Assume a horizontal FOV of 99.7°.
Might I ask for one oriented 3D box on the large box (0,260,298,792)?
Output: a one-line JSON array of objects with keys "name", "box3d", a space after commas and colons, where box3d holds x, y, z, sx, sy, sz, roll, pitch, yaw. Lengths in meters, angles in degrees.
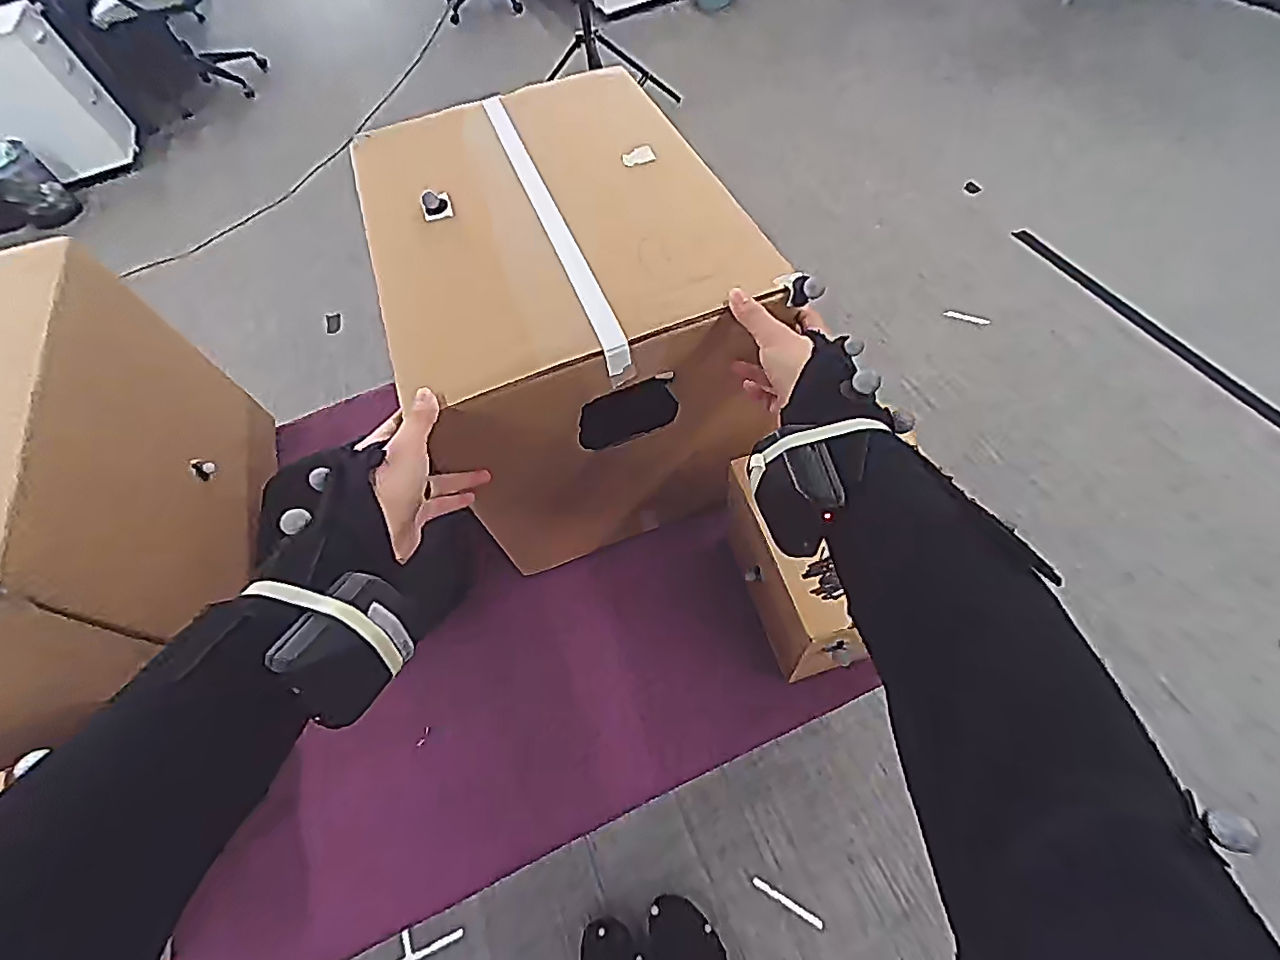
[{"name": "large box", "box3d": [-0.621, 0.056, 0.570, 0.320, 0.320, 0.408, -23, 62, -7]}]
